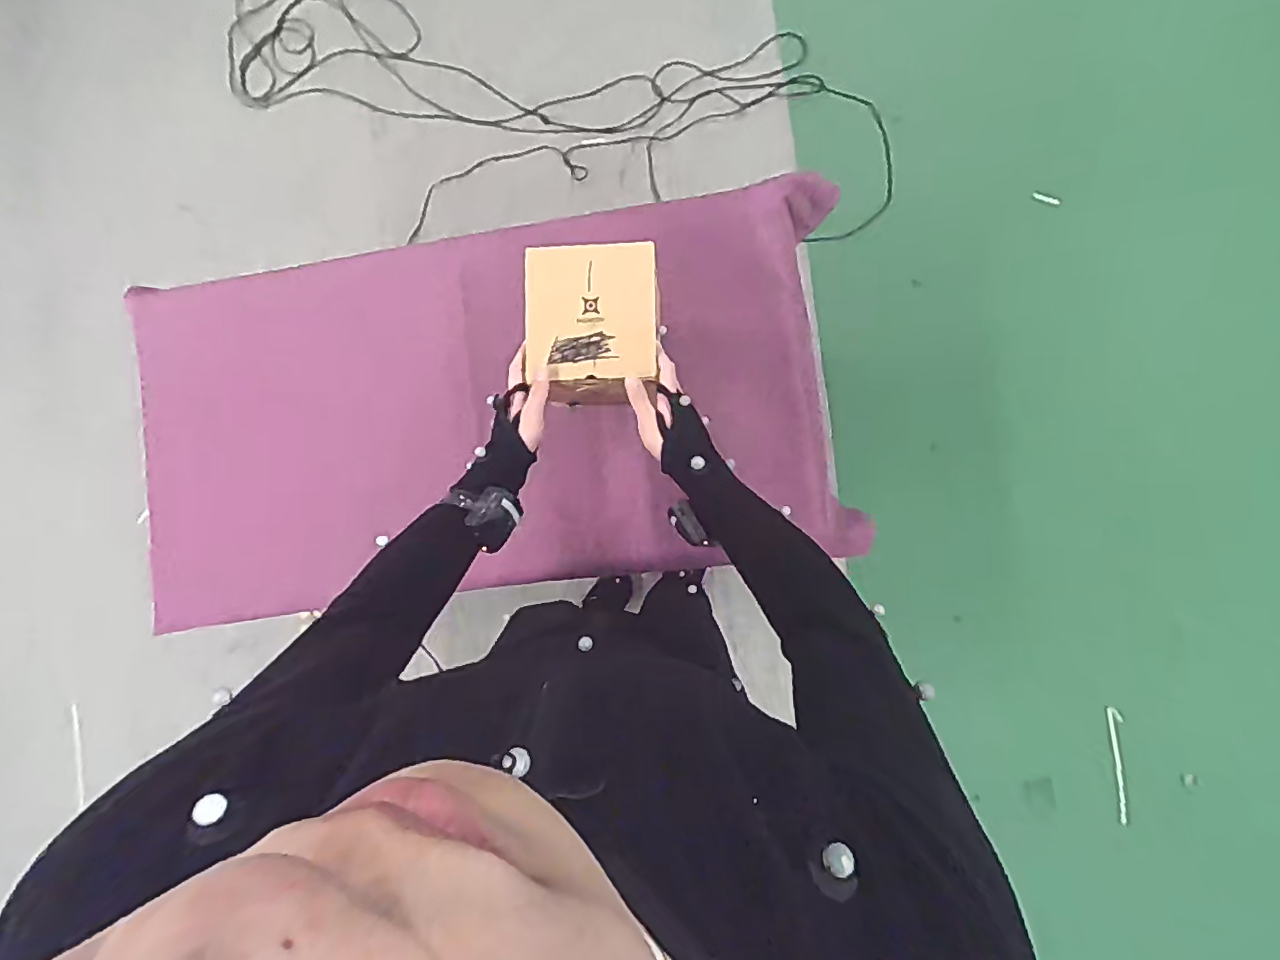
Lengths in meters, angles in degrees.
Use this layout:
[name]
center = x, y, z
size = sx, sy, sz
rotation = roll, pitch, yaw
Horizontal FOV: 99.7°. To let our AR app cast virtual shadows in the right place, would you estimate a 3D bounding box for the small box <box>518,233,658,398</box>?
[small box]
center = -0.061, -0.208, 0.736
size = 0.168, 0.176, 0.179
rotation = -1, 88, 4
